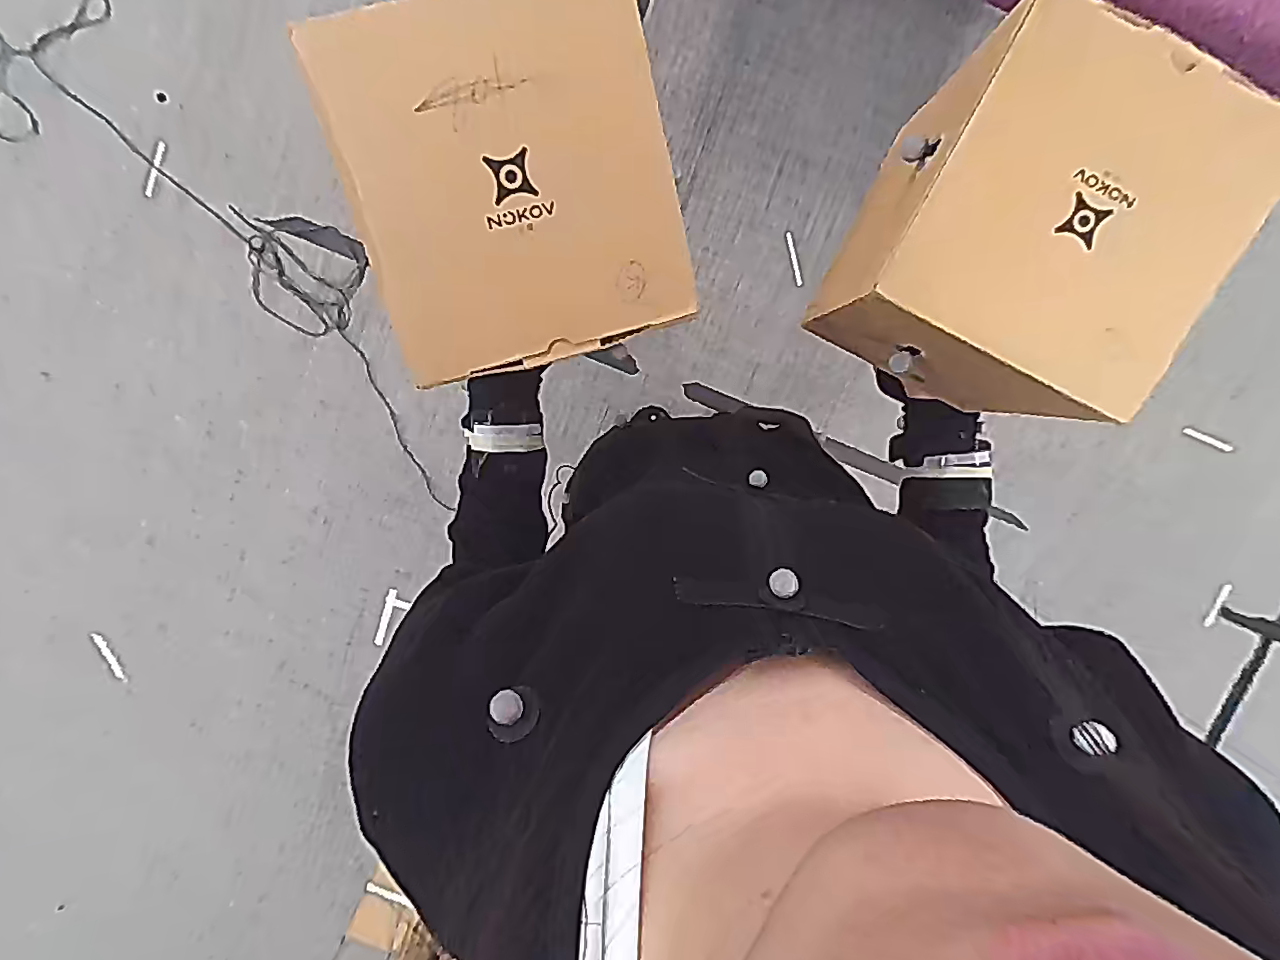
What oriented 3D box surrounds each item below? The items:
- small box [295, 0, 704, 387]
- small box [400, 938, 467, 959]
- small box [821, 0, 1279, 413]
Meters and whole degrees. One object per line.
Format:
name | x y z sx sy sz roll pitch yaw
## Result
small box | -0.071 -0.172 0.354 0.168 0.176 0.179 -17 105 -3
small box | -0.444 1.083 1.083 0.168 0.176 0.179 26 96 -5
small box | 0.245 -0.160 0.367 0.168 0.176 0.179 26 99 -2
